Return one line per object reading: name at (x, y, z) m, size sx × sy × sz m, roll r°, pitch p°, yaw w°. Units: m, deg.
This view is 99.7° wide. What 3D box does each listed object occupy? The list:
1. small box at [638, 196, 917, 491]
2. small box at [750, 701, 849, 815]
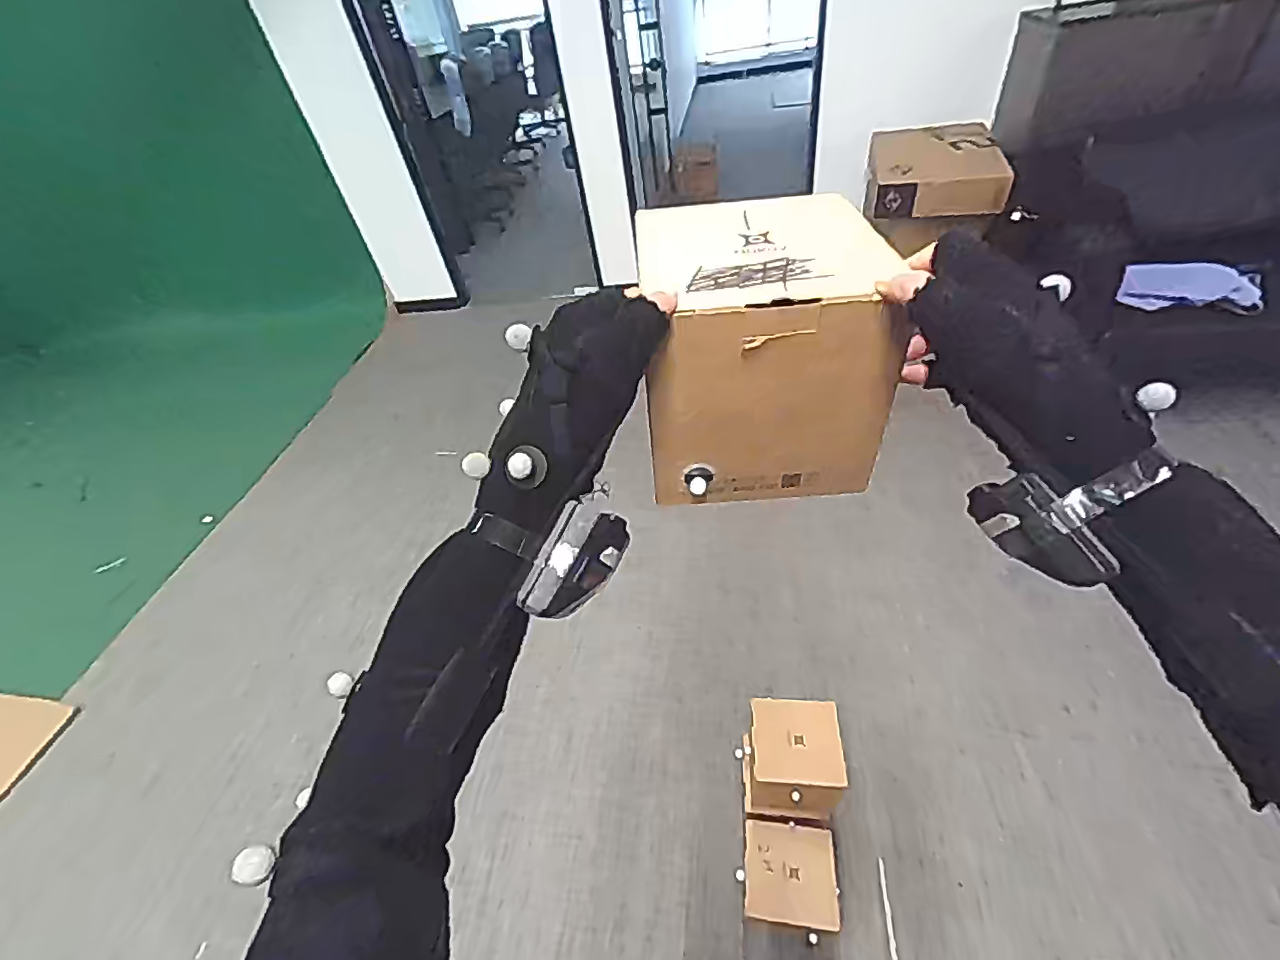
small box at (0.087, -0.103, 0.430) m, size 0.168 × 0.176 × 0.179 m, roll -4°, pitch 43°, yaw 2°
small box at (0.325, 0.585, 1.135) m, size 0.179 × 0.176 × 0.168 m, roll 0°, pitch 44°, yaw 10°
